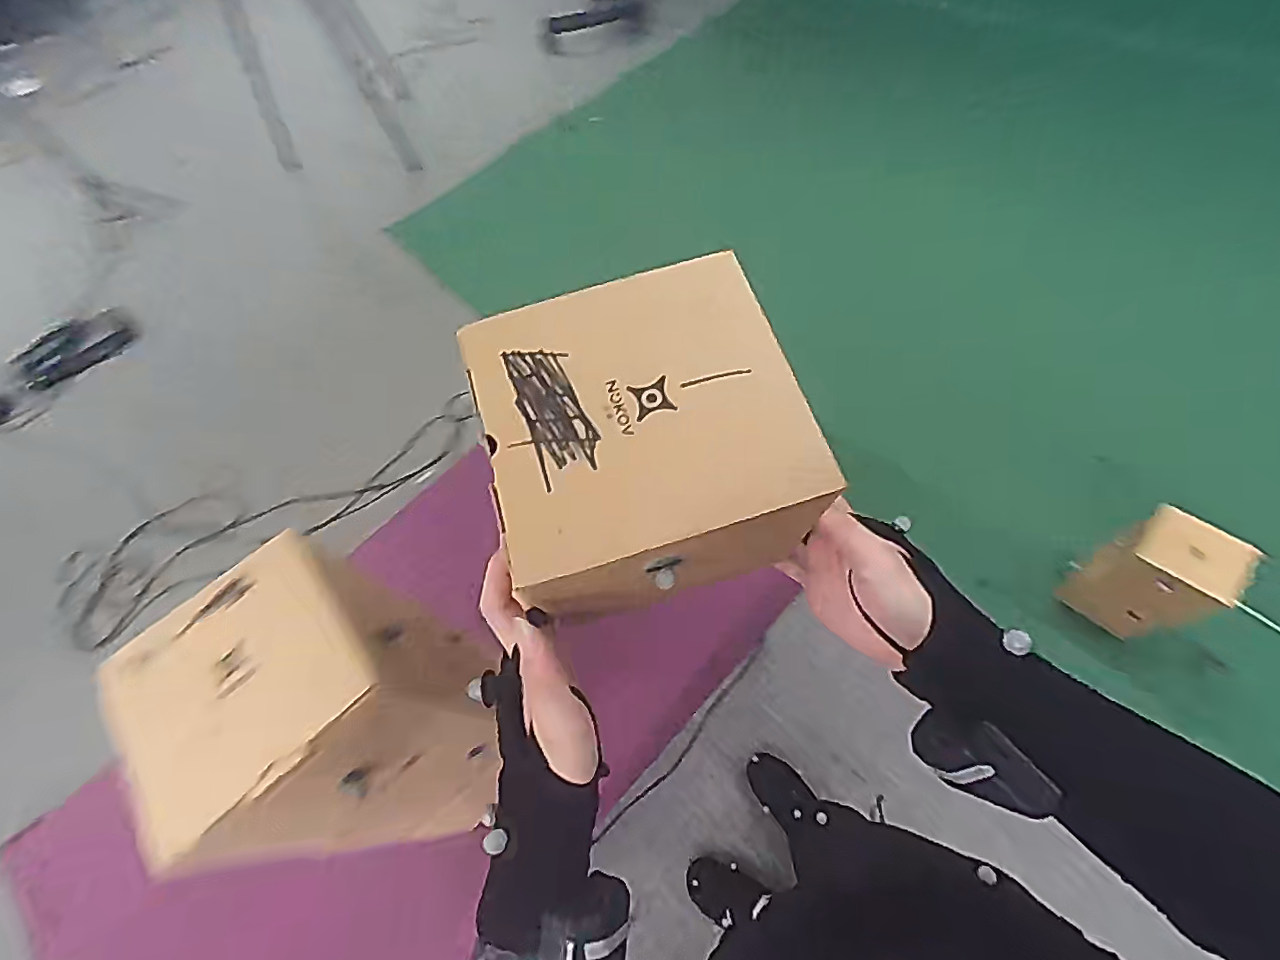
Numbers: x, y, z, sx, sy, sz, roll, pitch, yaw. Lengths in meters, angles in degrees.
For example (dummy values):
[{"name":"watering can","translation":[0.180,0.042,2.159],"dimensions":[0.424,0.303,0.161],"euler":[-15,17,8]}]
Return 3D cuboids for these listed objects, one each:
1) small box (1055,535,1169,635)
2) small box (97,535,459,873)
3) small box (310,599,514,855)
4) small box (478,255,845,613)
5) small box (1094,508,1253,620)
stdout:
[{"name":"small box","translation":[1.229,0.276,1.385],"dimensions":[0.179,0.176,0.168],"euler":[39,73,25]},{"name":"small box","translation":[-0.290,0.184,0.466],"dimensions":[0.168,0.176,0.179],"euler":[-40,63,-15]},{"name":"small box","translation":[-0.263,0.268,0.603],"dimensions":[0.179,0.176,0.168],"euler":[-41,63,-13]},{"name":"small box","translation":[0.009,-0.016,0.377],"dimensions":[0.179,0.176,0.168],"euler":[-16,68,-3]},{"name":"small box","translation":[1.212,0.200,1.242],"dimensions":[0.179,0.176,0.168],"euler":[35,72,25]}]
